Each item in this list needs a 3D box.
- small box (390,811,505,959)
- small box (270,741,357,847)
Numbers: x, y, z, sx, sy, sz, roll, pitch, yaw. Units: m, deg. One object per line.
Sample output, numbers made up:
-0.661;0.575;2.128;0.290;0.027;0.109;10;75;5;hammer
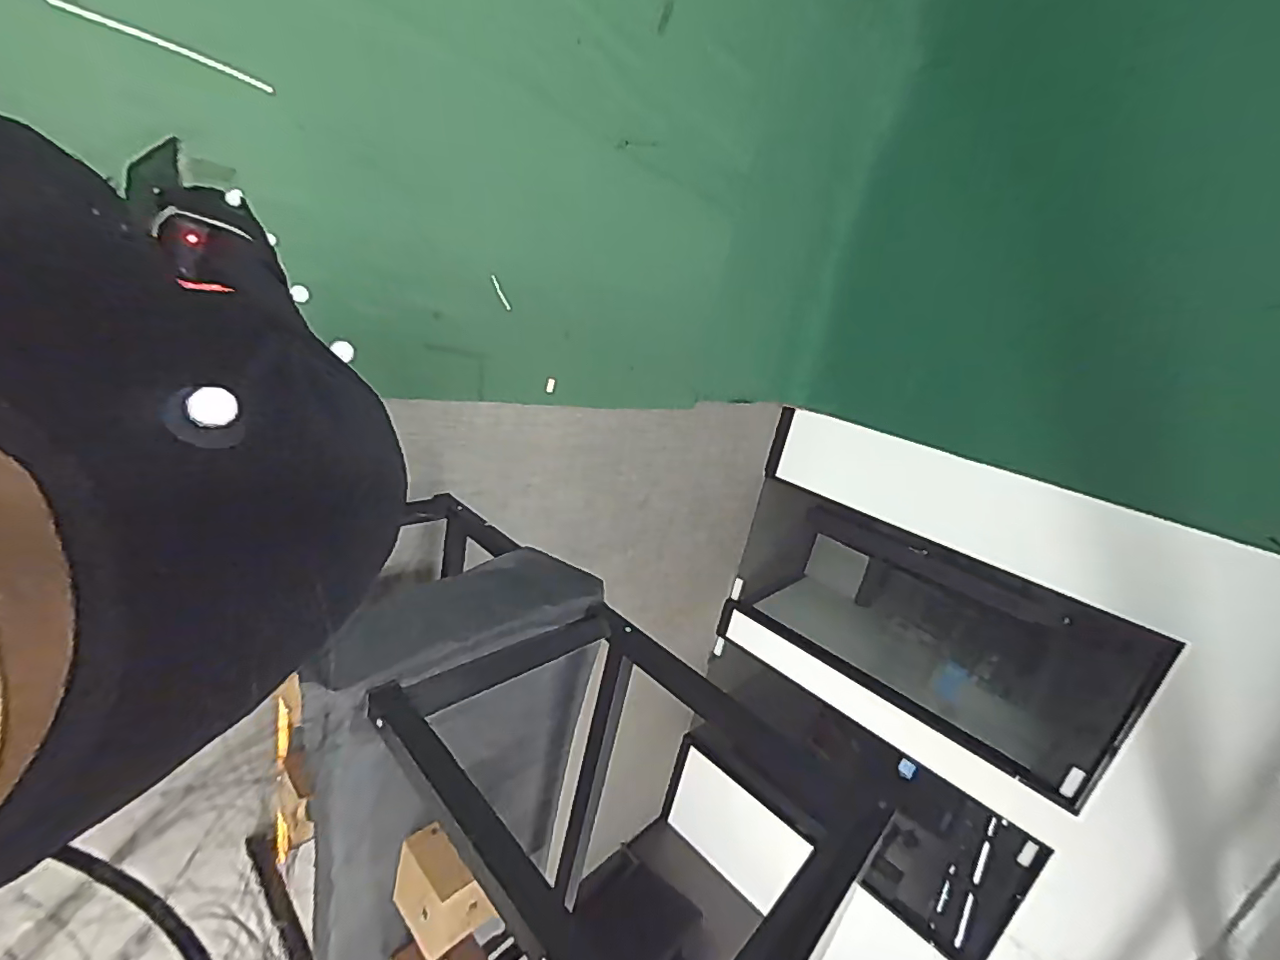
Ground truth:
-0.422;0.865;1.175;0.168;0.176;0.179;-4;114;-50;small box
-0.966;0.914;1.592;0.179;0.176;0.168;-3;114;-50;small box
